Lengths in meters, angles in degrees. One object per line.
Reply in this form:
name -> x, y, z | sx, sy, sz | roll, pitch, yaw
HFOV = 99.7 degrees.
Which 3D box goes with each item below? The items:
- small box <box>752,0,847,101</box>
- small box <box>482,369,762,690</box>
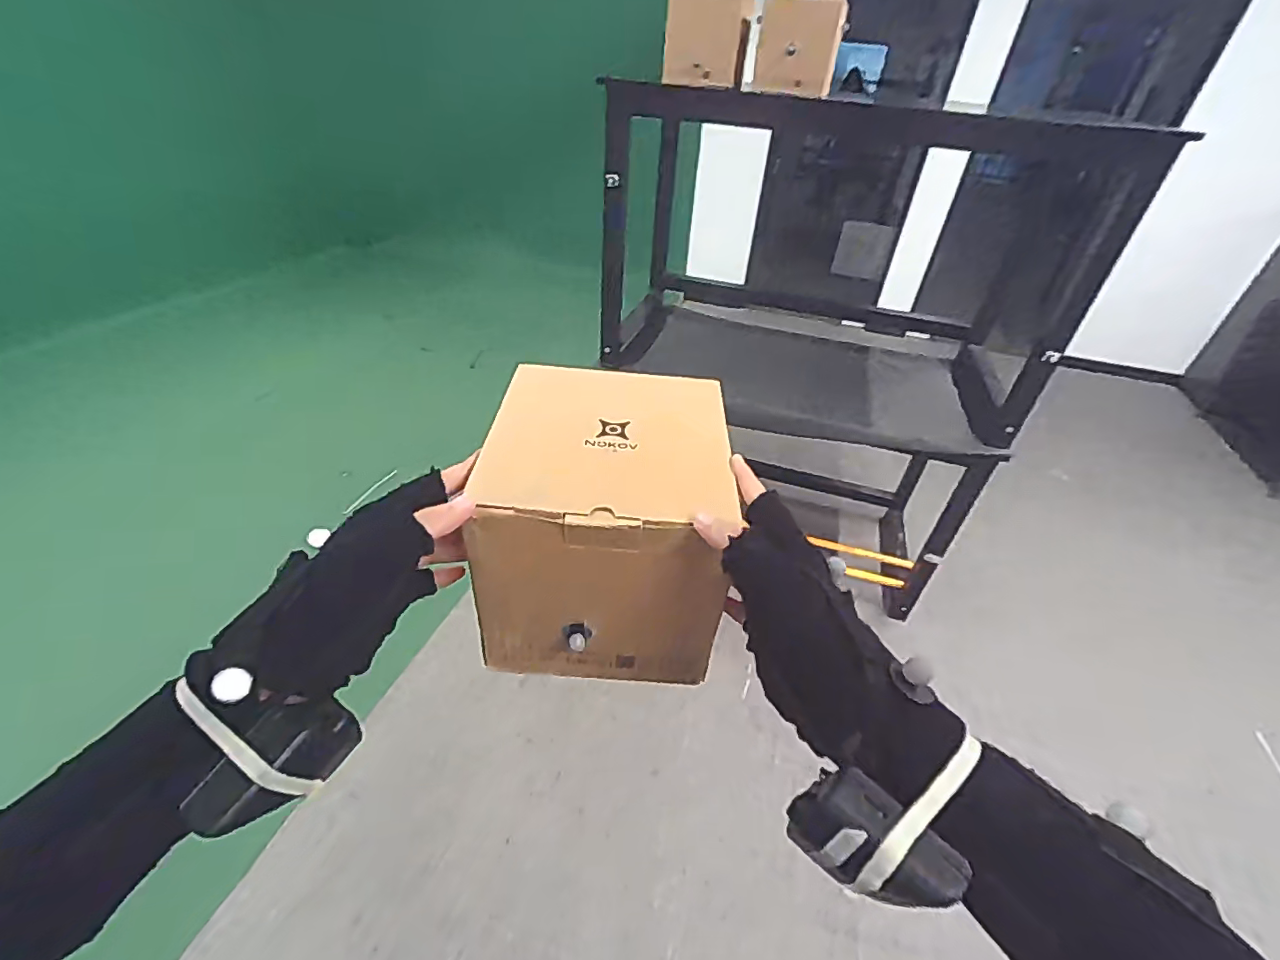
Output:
small box -> 0.359, -0.970, 1.226 | 0.168, 0.176, 0.179 | 15, 39, 12
small box -> -0.015, 0.035, 0.422 | 0.168, 0.176, 0.179 | 5, 39, -2
